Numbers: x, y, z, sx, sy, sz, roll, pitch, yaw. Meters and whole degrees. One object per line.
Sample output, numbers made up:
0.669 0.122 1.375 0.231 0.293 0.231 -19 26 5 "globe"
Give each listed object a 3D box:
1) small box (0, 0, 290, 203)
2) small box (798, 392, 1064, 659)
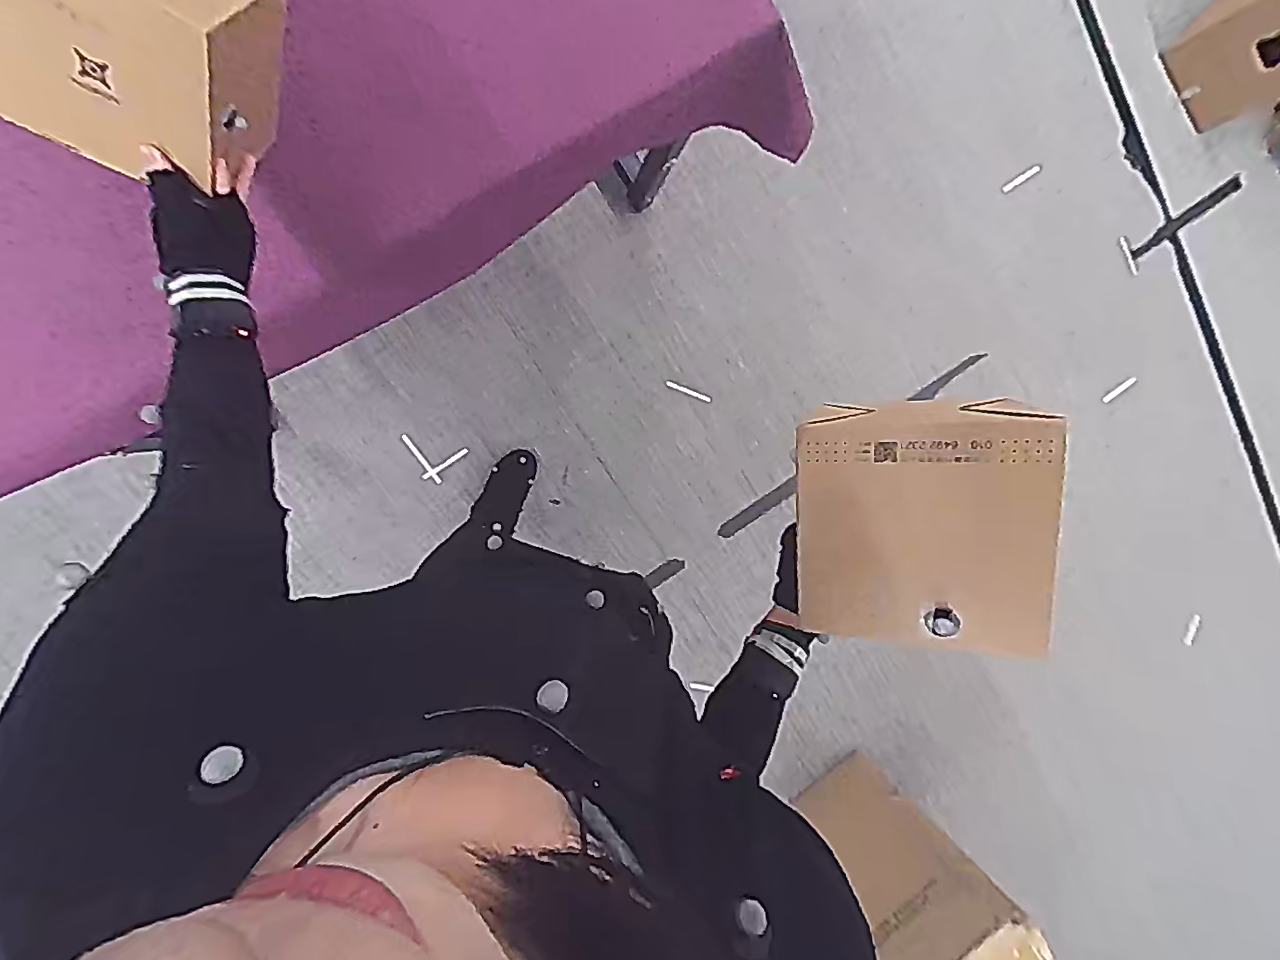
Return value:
-0.452 -0.411 0.502 0.168 0.179 0.176 20 49 -26 "small box"
0.227 0.019 0.449 0.168 0.179 0.176 1 103 24 "small box"
